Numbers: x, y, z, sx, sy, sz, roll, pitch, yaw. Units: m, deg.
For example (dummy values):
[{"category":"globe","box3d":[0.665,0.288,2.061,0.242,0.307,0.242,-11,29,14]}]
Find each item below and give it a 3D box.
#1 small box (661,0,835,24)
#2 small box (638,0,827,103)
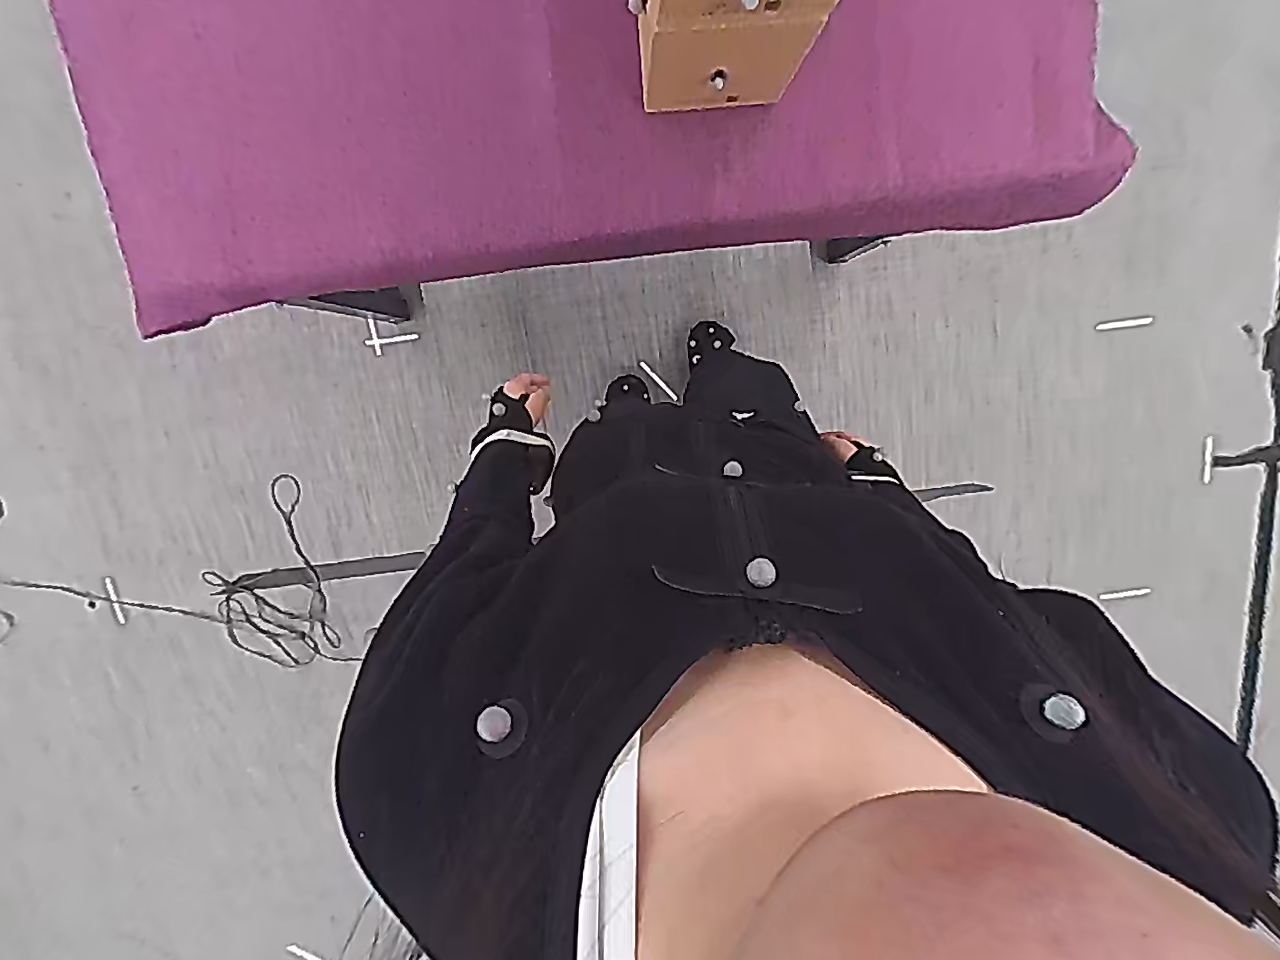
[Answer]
[{"category":"small box","box3d":[0.095,-0.491,0.400,0.168,0.176,0.179,-5,103,-1]},{"category":"small box","box3d":[0.085,-0.521,0.562,0.168,0.176,0.179,-5,102,-2]}]
